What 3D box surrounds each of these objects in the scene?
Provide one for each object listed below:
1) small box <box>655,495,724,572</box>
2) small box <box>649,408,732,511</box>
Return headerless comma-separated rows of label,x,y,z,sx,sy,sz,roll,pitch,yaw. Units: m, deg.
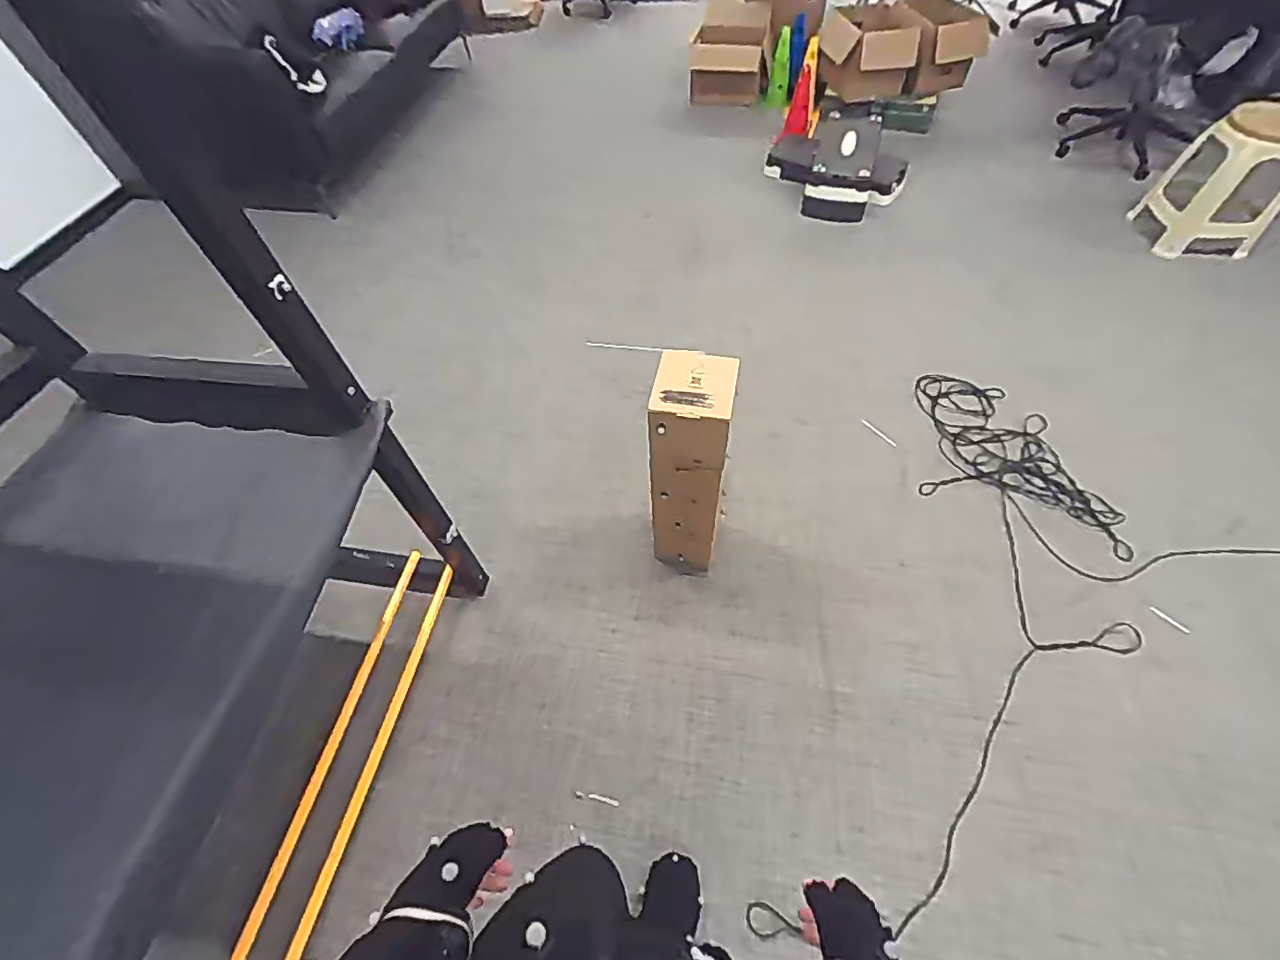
small box,0.143,0.141,1.570,0.168,0.176,0.179,11,57,12
small box,0.123,-0.046,1.303,0.168,0.176,0.179,10,56,10
